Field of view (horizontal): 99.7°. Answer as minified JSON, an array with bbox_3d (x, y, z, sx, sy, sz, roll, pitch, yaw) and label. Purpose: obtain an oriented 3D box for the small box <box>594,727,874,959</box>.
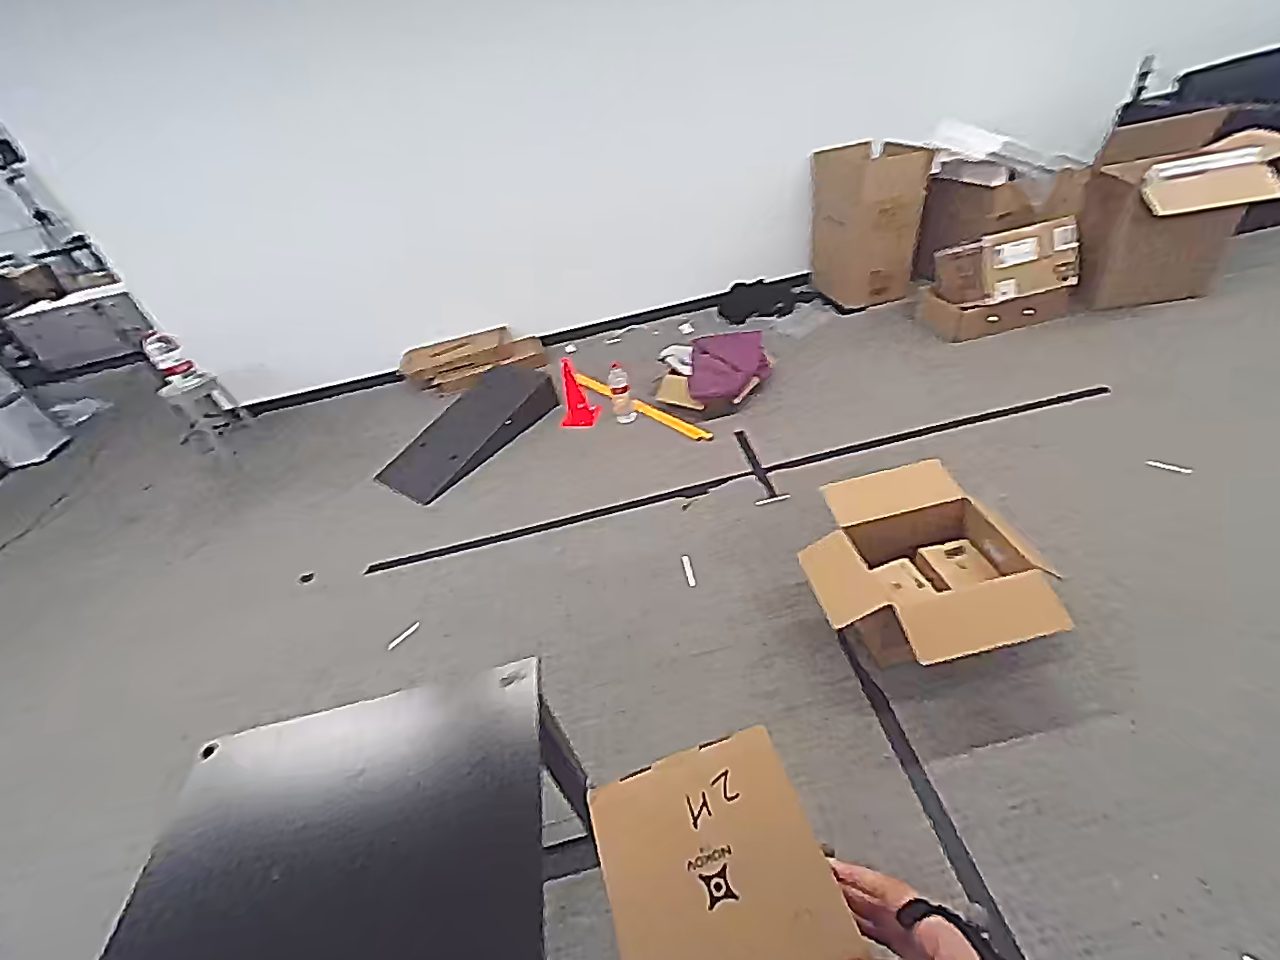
[{"bbox_3d":[0.074,0.349,0.465,0.168,0.176,0.179,-18,47,-5],"label":"small box"}]
